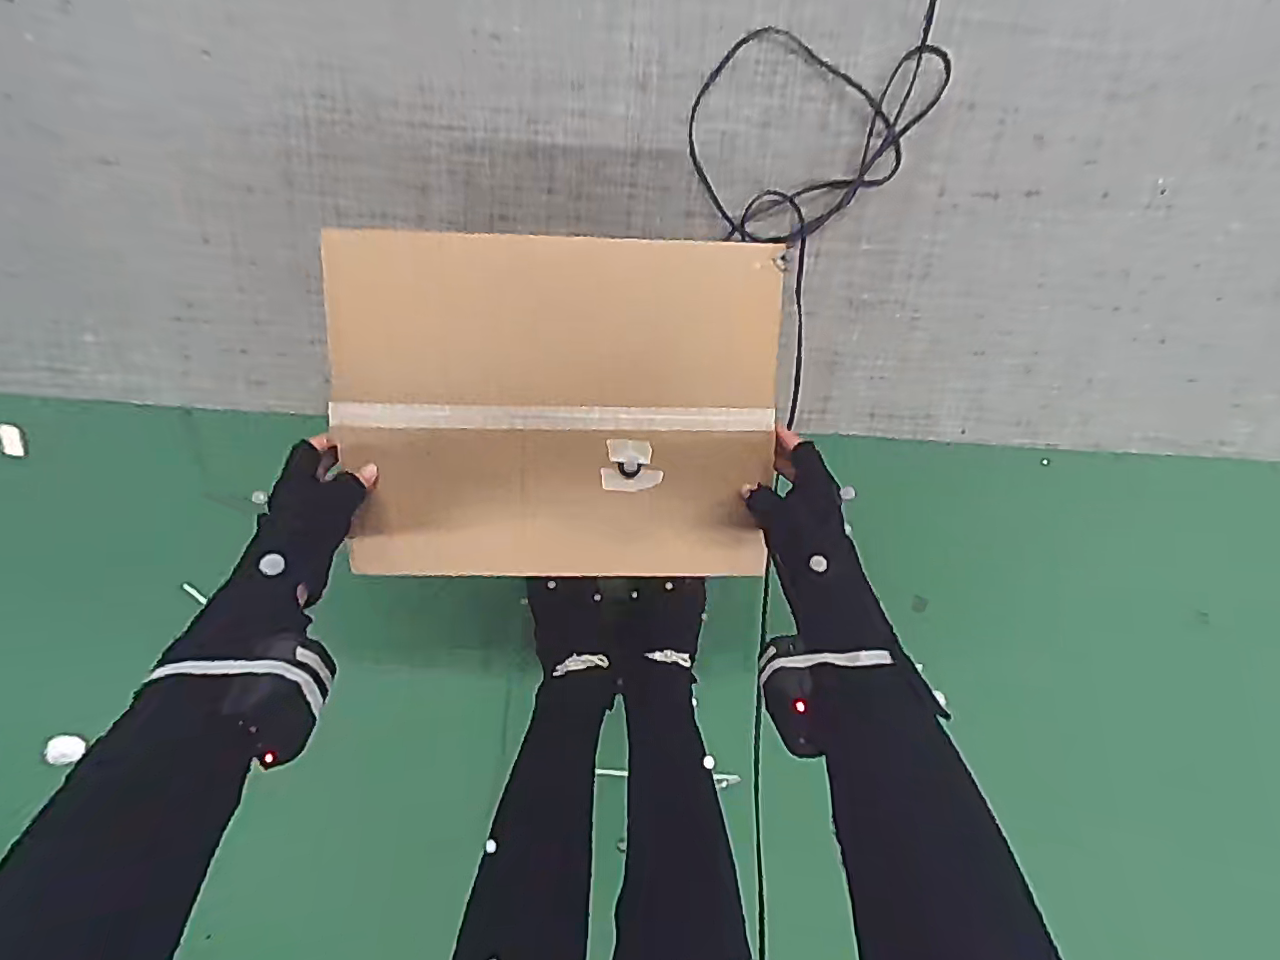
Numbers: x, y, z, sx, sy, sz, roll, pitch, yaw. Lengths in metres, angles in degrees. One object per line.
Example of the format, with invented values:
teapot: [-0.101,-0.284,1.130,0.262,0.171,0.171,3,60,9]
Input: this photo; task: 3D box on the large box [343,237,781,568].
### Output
large box: [-0.080,-0.090,0.664,0.408,0.320,0.320,1,102,-4]
